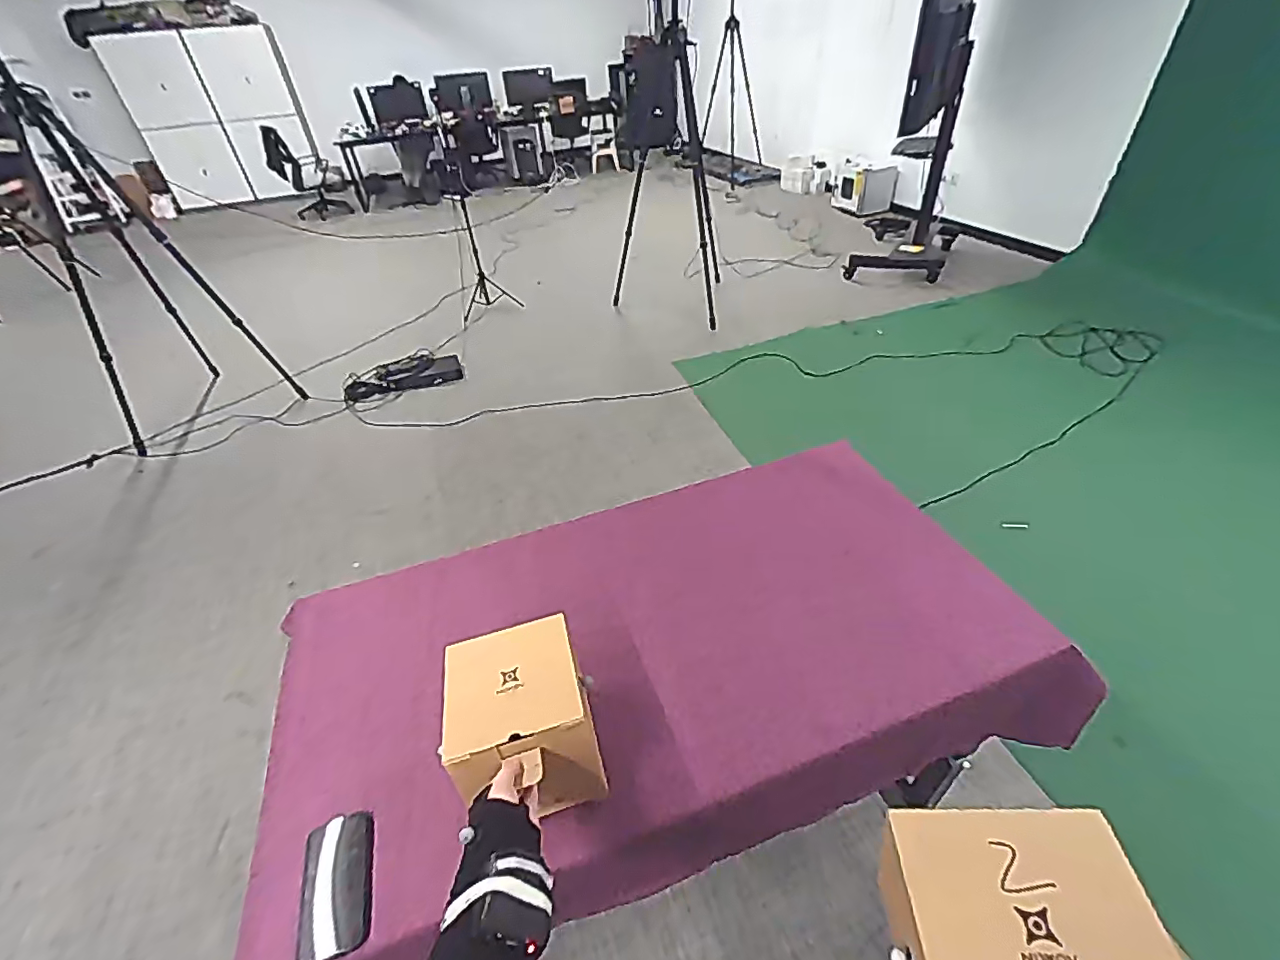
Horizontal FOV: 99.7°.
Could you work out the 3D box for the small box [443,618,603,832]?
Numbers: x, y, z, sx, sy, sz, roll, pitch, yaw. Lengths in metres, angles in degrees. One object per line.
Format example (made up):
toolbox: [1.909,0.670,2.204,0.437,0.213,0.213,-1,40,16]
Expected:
small box: [-0.154,0.324,0.728,0.168,0.176,0.179,-15,34,-9]
